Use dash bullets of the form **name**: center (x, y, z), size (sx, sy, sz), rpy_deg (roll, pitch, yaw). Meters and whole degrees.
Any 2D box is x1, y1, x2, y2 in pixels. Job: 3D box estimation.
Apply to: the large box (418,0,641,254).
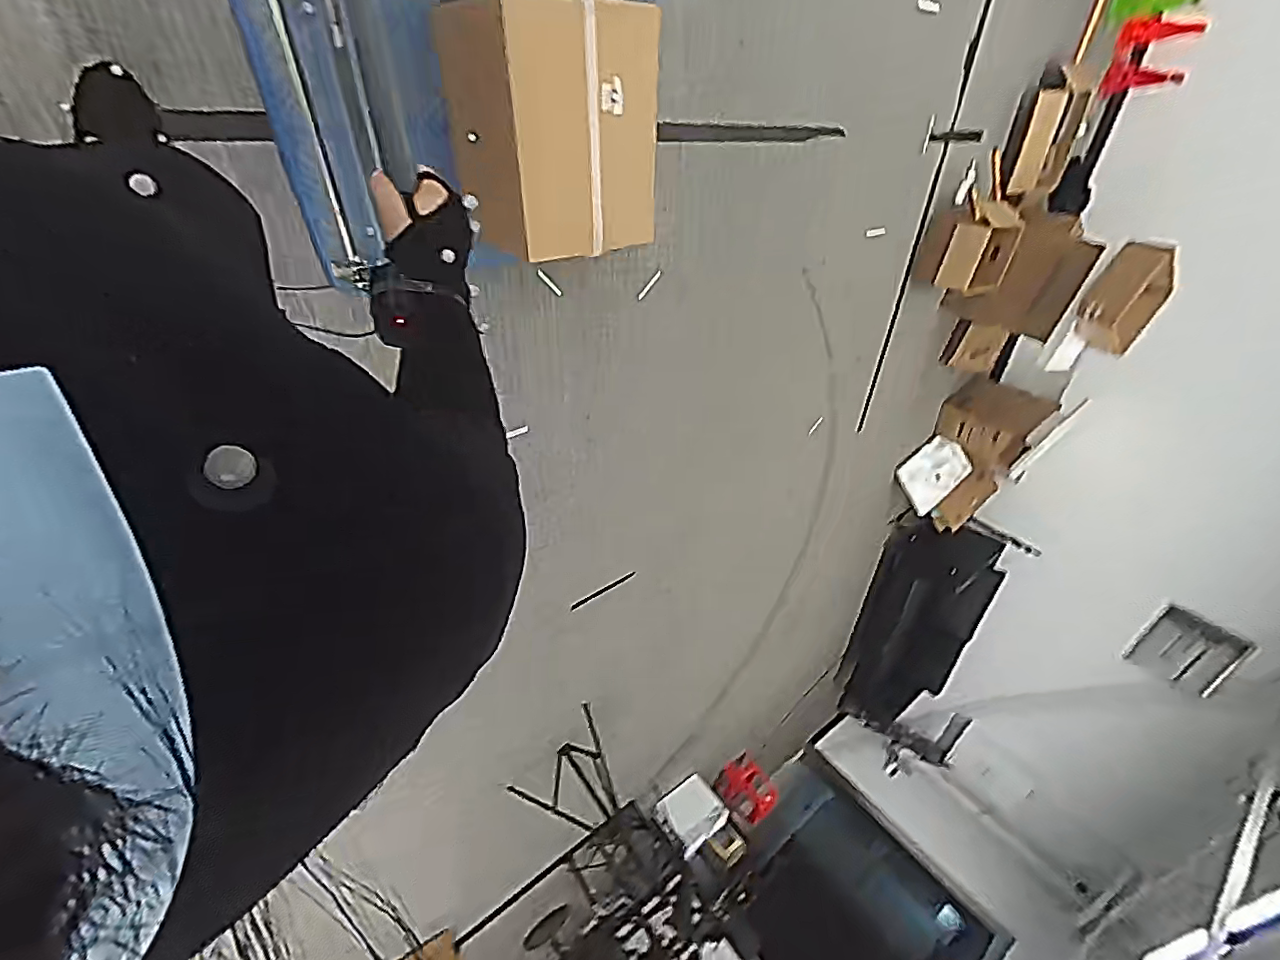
- **large box**: center (-0.212, -0.723, 1.110), size (0.320, 0.320, 0.408), rpy_deg (-25, 133, -31)
